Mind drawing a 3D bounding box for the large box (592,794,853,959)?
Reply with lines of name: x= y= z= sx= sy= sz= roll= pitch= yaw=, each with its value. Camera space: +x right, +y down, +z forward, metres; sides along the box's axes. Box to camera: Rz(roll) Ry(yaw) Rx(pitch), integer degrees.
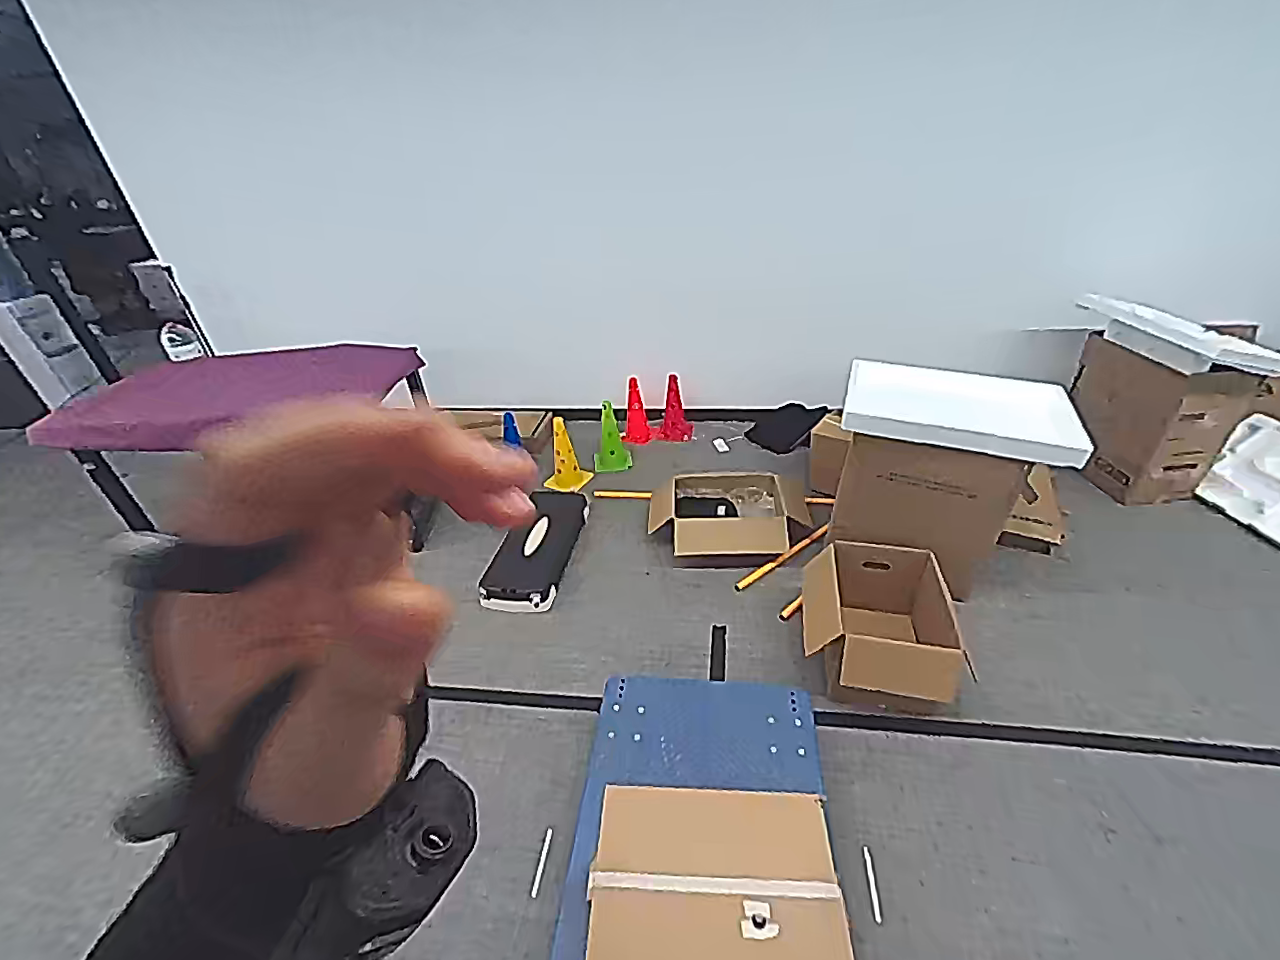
large box: x=0.132 y=0.806 z=0.972 sx=0.408 sy=0.320 sz=0.320 roll=0 pitch=34 yaw=4
